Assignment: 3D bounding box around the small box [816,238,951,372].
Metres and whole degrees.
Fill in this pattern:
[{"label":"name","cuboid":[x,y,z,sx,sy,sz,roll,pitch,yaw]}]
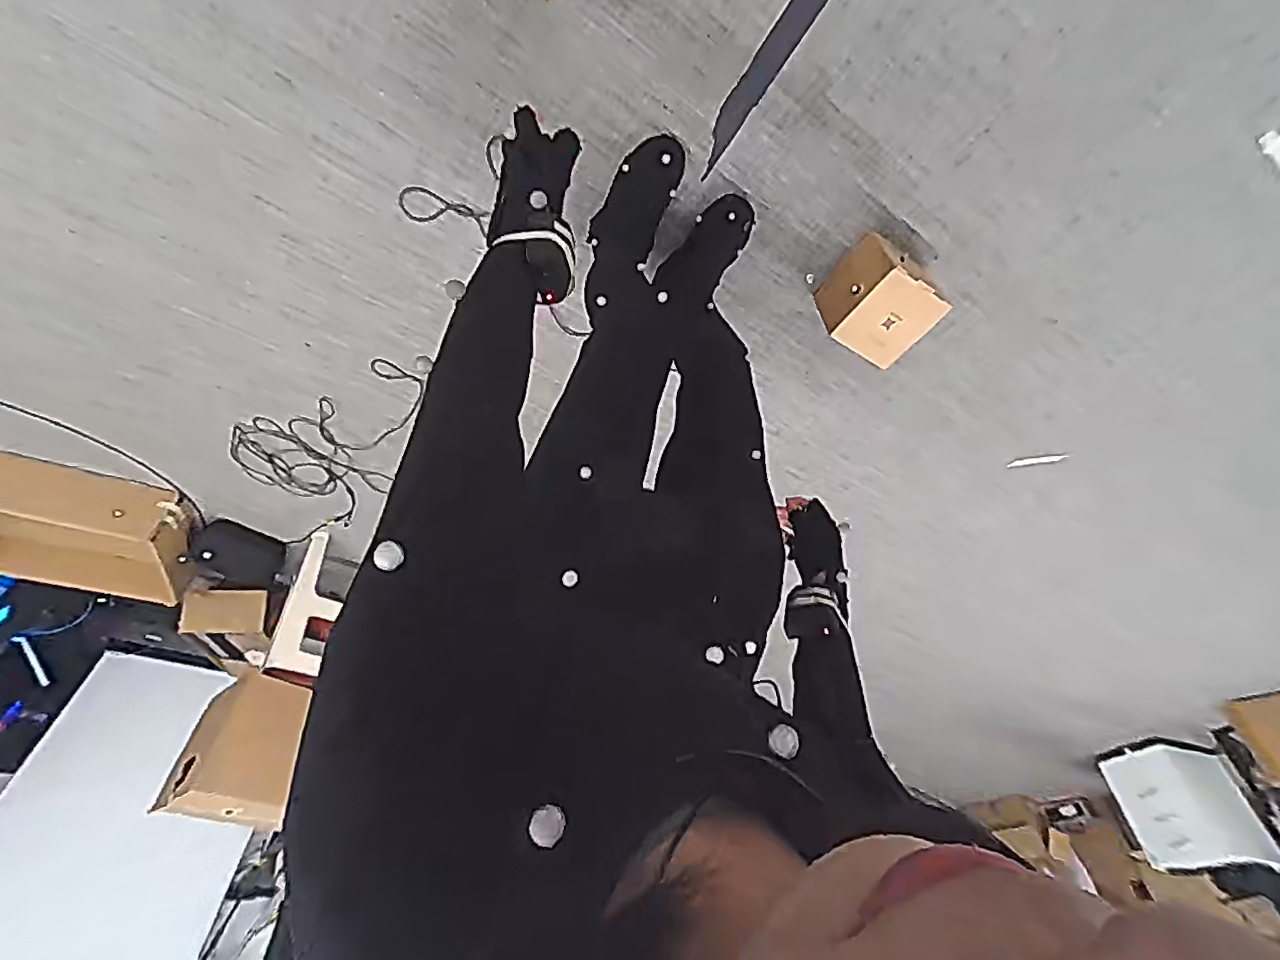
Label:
[{"label":"small box","cuboid":[0.496,-0.367,1.130,0.168,0.176,0.179,23,132,-21]}]
